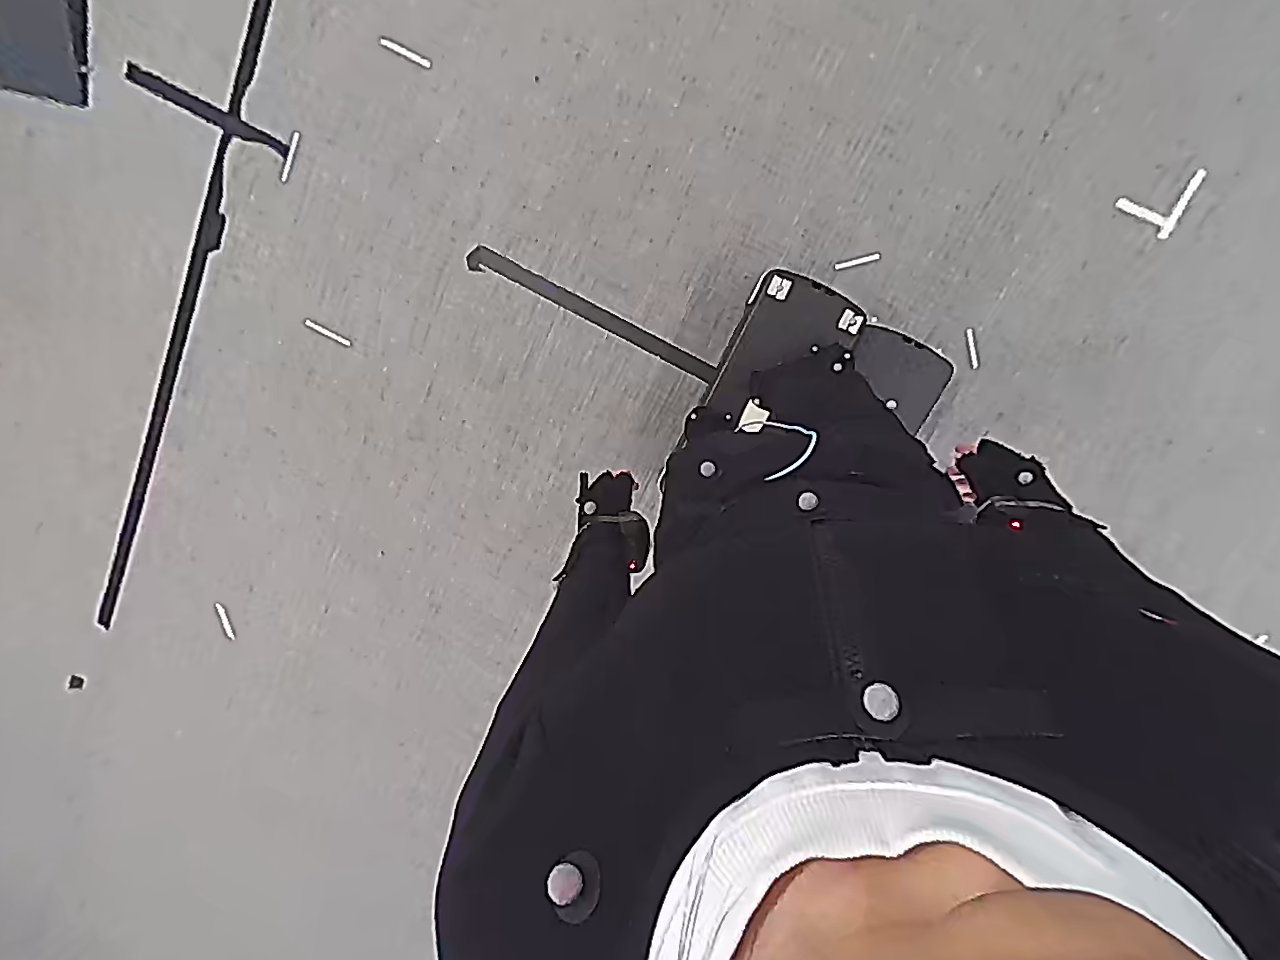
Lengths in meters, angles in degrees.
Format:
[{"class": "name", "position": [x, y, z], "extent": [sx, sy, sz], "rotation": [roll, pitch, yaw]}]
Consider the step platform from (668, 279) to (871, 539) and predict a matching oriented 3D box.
[{"class": "step platform", "position": [0.335, -0.182, 1.480], "extent": [0.286, 0.204, 0.684], "rotation": [25, 102, 0]}]
